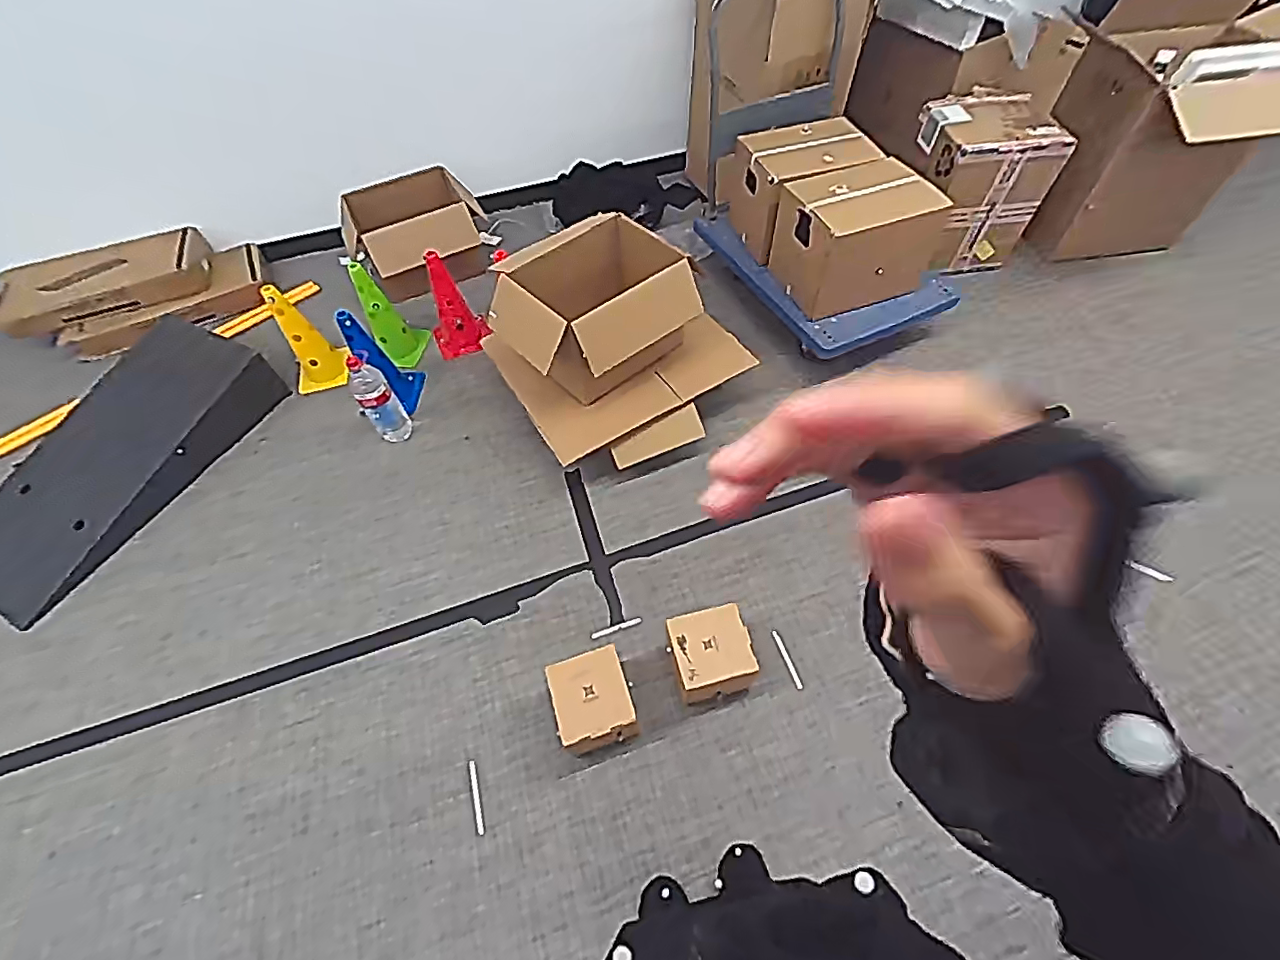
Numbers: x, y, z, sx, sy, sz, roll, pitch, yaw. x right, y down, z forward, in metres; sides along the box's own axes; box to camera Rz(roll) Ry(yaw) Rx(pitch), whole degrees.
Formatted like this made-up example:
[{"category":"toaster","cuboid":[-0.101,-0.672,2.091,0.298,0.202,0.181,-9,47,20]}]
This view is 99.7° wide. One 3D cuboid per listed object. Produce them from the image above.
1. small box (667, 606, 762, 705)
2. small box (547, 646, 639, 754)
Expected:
[{"category":"small box","cuboid":[0.169,0.422,1.295,0.179,0.176,0.168,-12,57,-7]},{"category":"small box","cuboid":[-0.104,0.513,1.246,0.168,0.176,0.179,-16,57,-10]}]
